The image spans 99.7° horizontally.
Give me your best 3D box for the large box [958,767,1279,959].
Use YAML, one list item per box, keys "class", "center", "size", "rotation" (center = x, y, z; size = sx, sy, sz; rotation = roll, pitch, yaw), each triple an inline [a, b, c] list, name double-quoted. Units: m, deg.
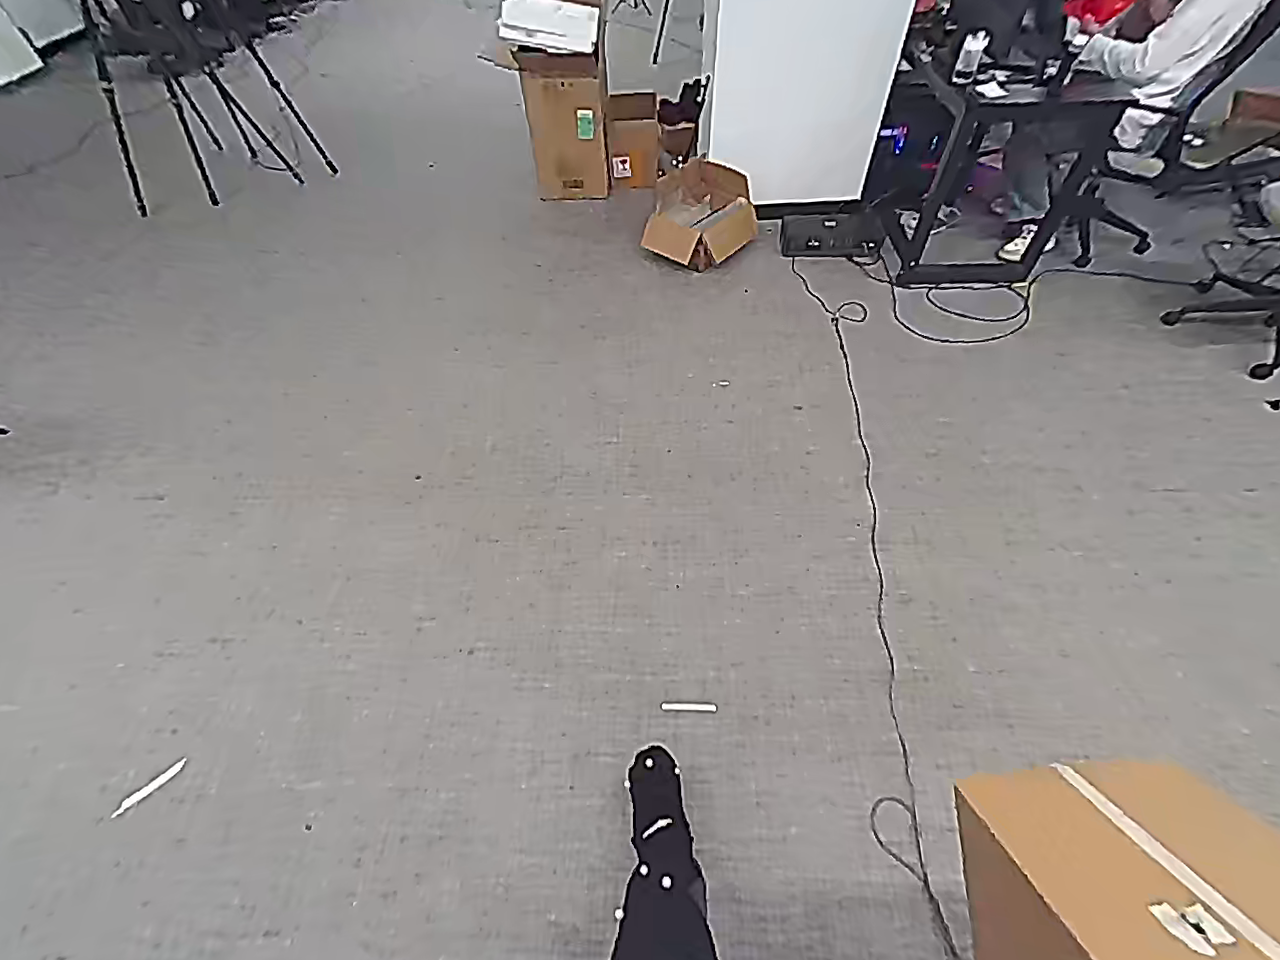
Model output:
- class: "large box"
  center: [0.637, 0.608, 0.624]
  size: [0.320, 0.408, 0.320]
  rotation: [-9, 95, 5]
